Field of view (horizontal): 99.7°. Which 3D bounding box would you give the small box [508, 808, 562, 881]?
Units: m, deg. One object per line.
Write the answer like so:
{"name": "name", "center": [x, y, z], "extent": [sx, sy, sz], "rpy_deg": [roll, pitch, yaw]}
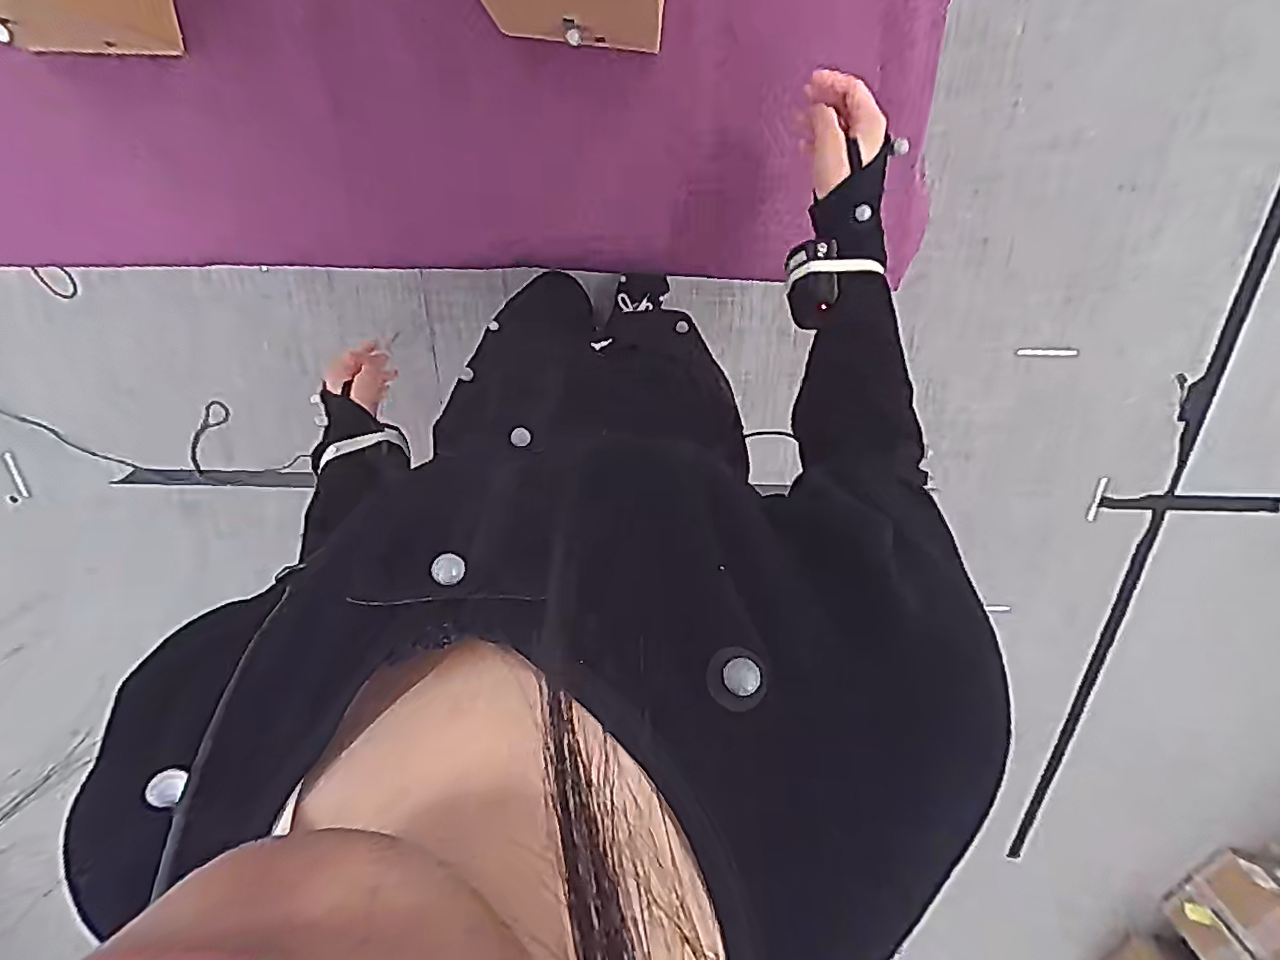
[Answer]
{"name": "small box", "center": [-0.394, 1.378, 2.050], "extent": [0.168, 0.176, 0.179], "rpy_deg": [1, 114, 2]}

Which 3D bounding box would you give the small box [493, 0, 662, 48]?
{"name": "small box", "center": [-0.055, -0.504, 0.451], "extent": [0.168, 0.176, 0.179], "rpy_deg": [6, 113, -1]}

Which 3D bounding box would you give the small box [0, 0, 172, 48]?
{"name": "small box", "center": [-0.558, -0.499, 0.459], "extent": [0.168, 0.176, 0.179], "rpy_deg": [2, 113, 0]}
